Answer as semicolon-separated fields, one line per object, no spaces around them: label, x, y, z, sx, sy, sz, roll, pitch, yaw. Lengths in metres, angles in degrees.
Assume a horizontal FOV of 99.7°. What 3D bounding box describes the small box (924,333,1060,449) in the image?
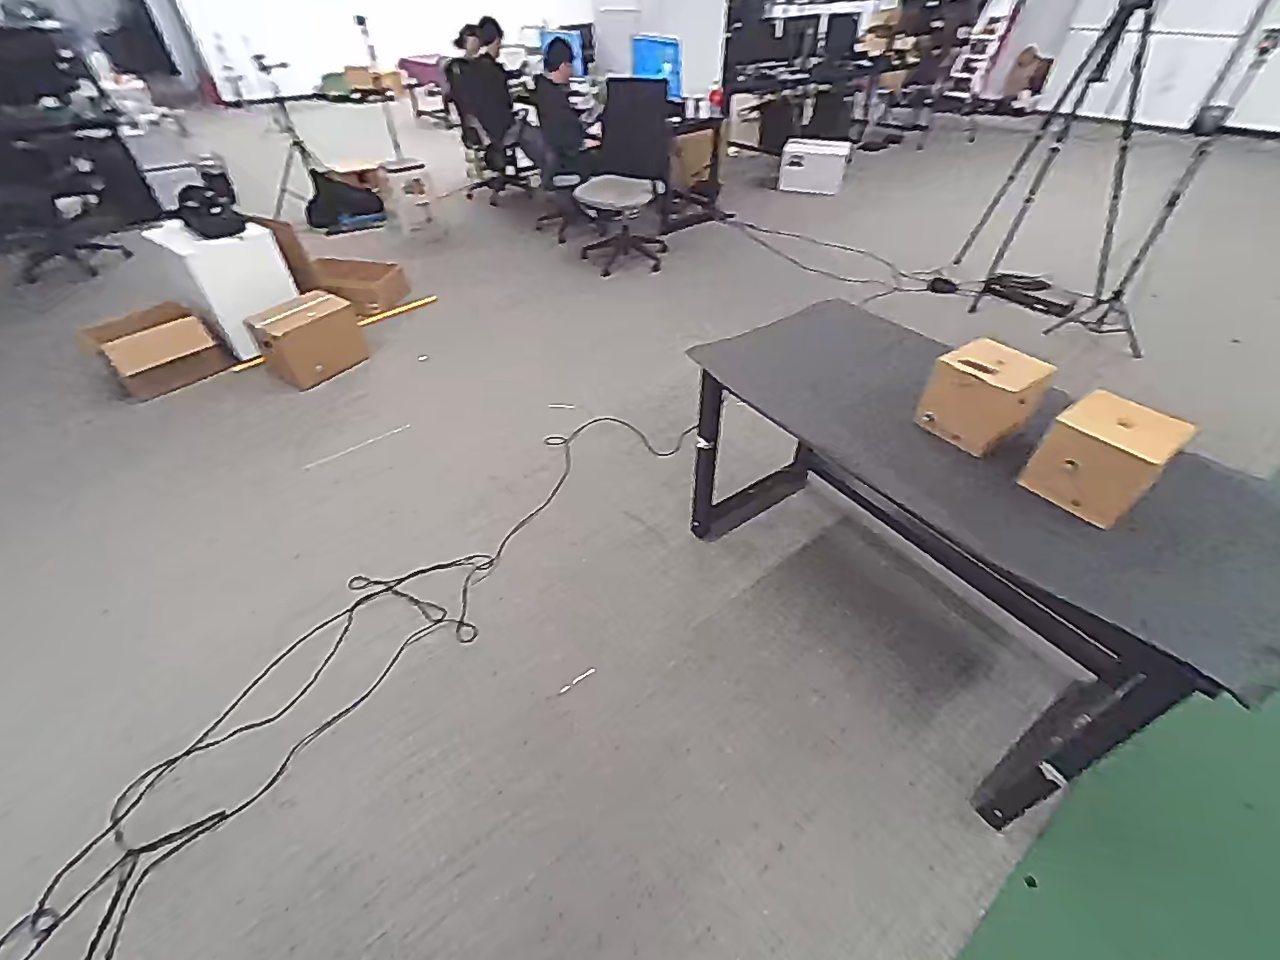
small box;0.755;-0.194;1.184;0.179;0.176;0.168;-24;48;-24

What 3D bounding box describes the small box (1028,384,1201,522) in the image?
small box;0.886;-0.050;1.030;0.179;0.176;0.168;-27;48;-25
